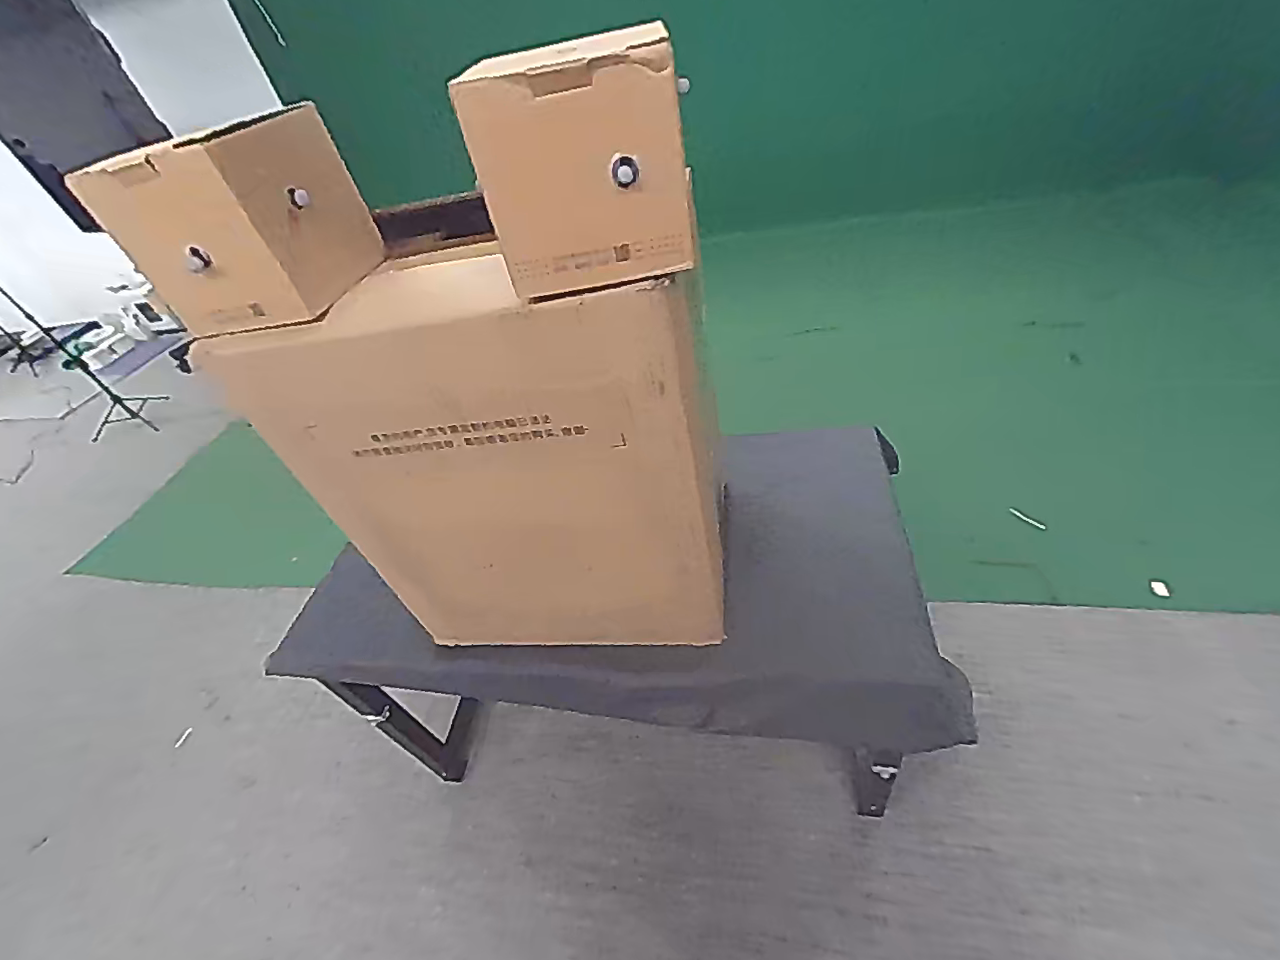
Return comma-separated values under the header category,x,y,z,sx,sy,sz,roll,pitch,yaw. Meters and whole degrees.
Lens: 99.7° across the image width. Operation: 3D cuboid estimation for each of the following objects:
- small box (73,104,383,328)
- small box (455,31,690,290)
category,x,y,z,sx,sy,sz,roll,pitch,yaw
small box,-0.421,-0.279,0.593,0.168,0.176,0.179,-3,44,13
small box,-0.046,-0.289,0.504,0.168,0.176,0.179,-7,42,5
